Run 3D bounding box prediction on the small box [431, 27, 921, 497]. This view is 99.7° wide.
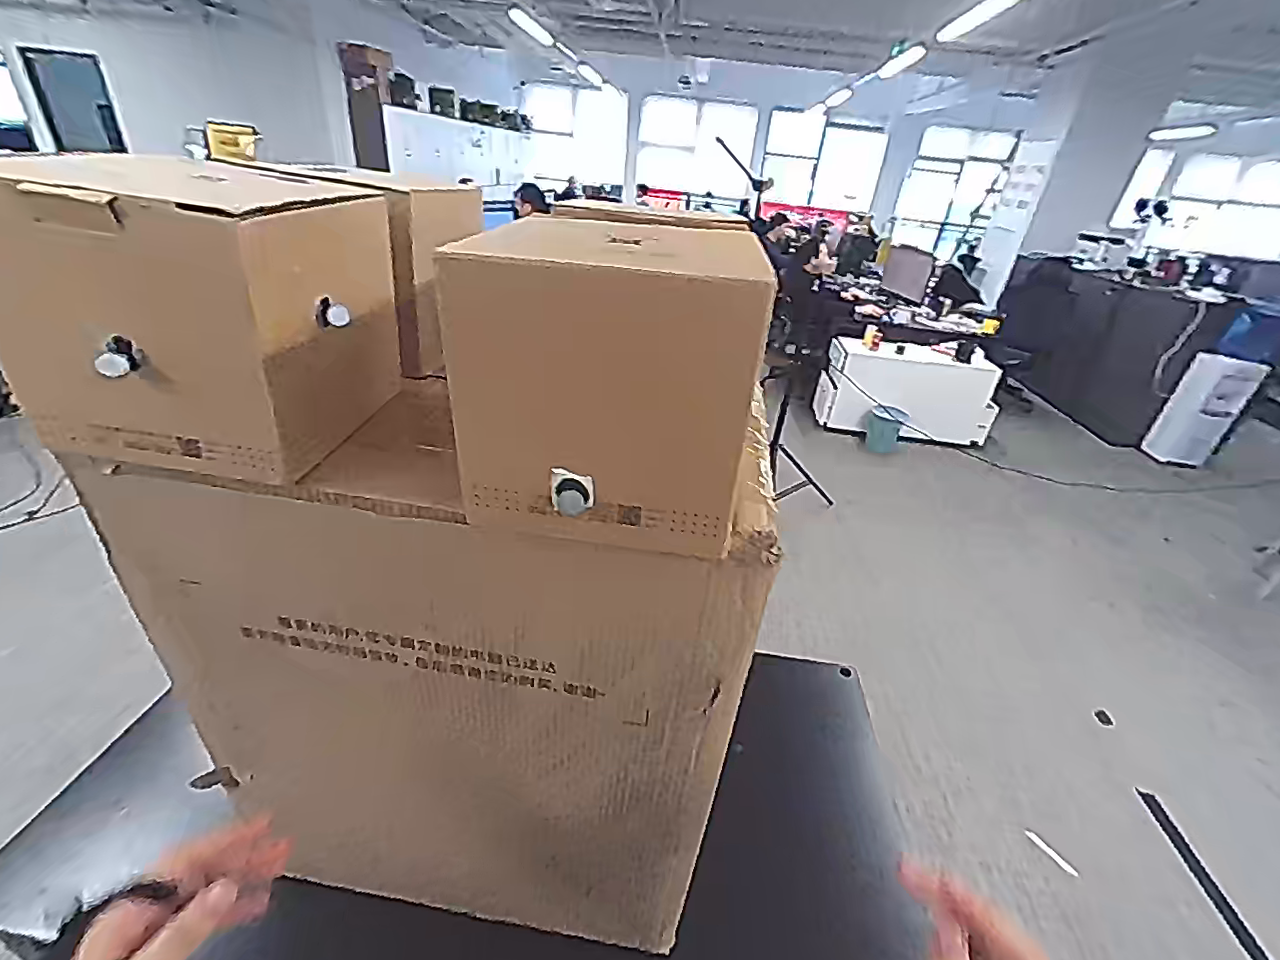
[{"bbox_3d":[0.012,-0.113,0.288,0.168,0.176,0.179,5,33,3],"label":"small box"}]

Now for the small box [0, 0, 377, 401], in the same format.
[{"bbox_3d":[-0.269,-0.160,0.305,0.168,0.176,0.179,9,33,-3],"label":"small box"}]

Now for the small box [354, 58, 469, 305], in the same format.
[{"bbox_3d":[-0.254,-0.261,0.481,0.179,0.176,0.168,10,30,3],"label":"small box"}]
